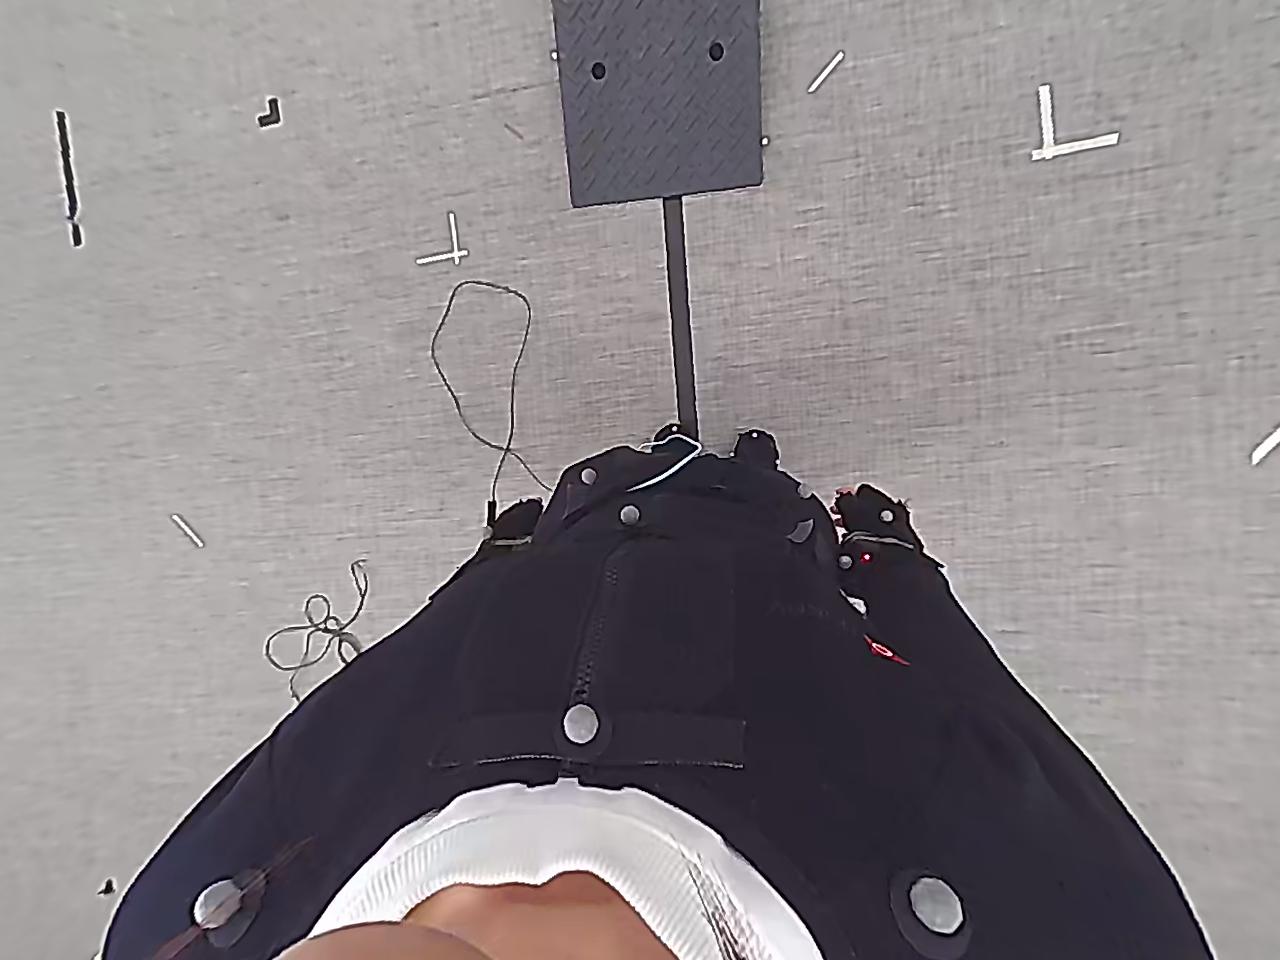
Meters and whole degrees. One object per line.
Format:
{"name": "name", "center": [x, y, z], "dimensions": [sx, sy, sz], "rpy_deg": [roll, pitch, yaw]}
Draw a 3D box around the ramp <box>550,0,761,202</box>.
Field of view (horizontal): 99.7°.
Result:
{"name": "ramp", "center": [0.022, -1.215, 1.243], "dimensions": [0.509, 0.206, 0.991], "rpy_deg": [-4, 95, 9]}
